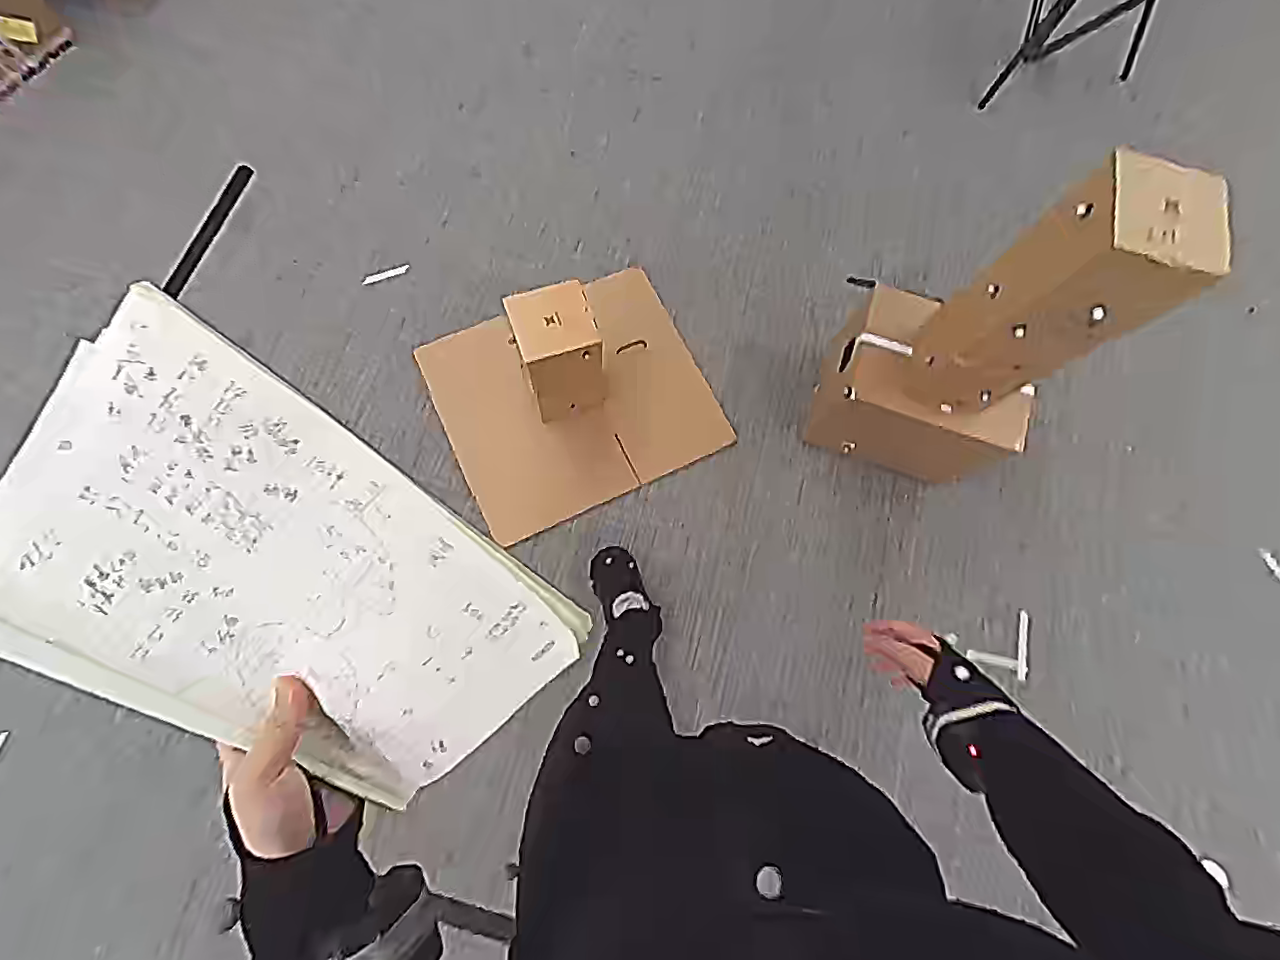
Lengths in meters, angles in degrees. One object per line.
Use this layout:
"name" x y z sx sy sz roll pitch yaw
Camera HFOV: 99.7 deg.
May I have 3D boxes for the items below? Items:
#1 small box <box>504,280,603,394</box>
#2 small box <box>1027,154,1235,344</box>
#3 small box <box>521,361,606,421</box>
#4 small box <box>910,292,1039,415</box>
"small box" -0.191 -0.317 1.228 0.179 0.176 0.168 -18 76 -11
"small box" 0.727 -0.339 0.818 0.168 0.176 0.179 16 74 0
"small box" -0.201 -0.274 1.385 0.179 0.176 0.168 -20 77 -12
"small box" 0.693 -0.256 1.135 0.168 0.176 0.179 14 74 -1
